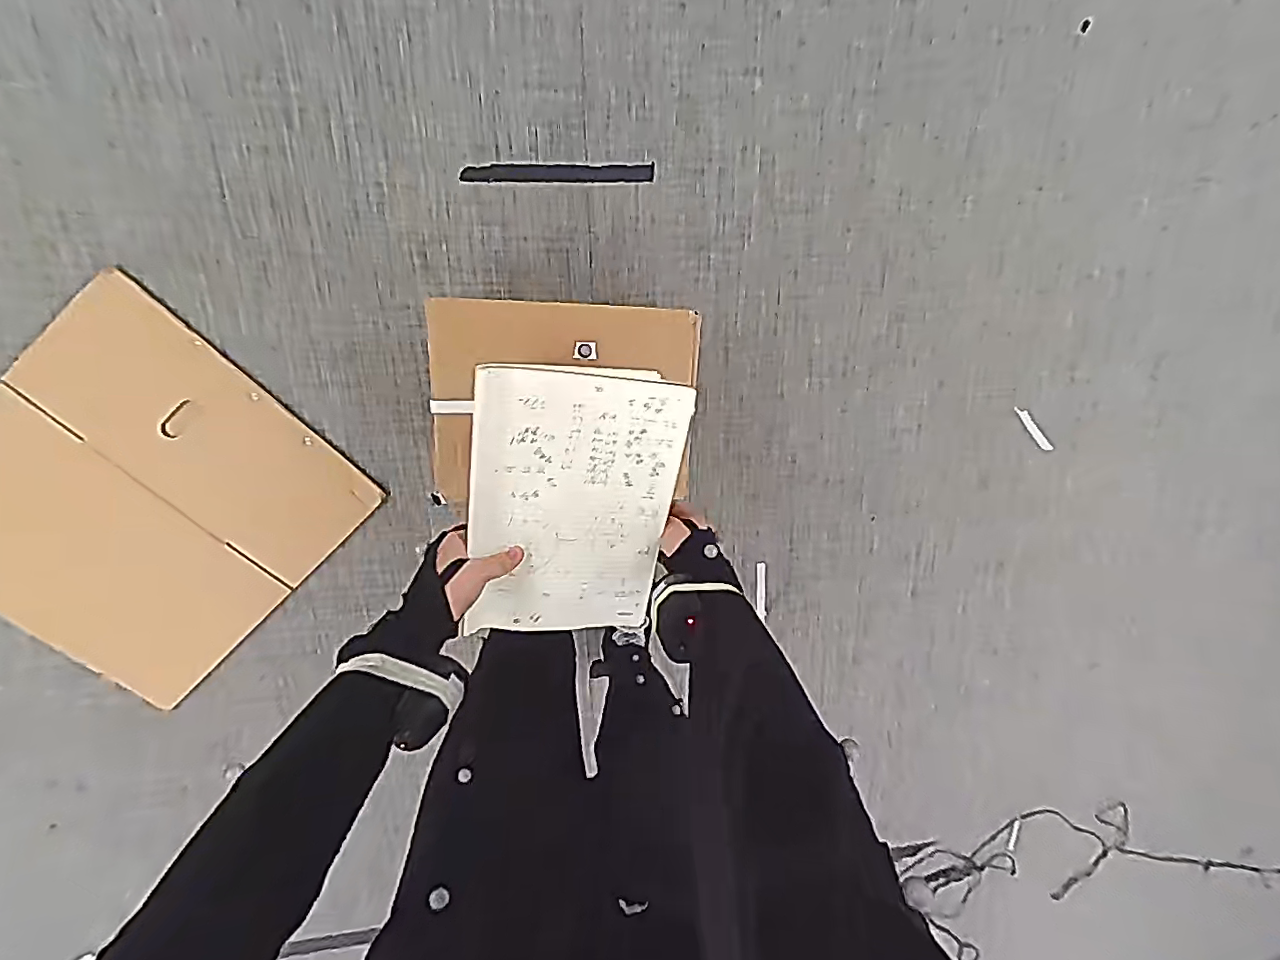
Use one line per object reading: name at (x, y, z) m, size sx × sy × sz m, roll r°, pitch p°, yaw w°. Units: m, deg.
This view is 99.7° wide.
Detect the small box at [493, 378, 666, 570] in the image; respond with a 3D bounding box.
small box at (-0.071, -0.015, 0.609) m, size 0.168 × 0.176 × 0.179 m, roll -1°, pitch 107°, yaw -9°
